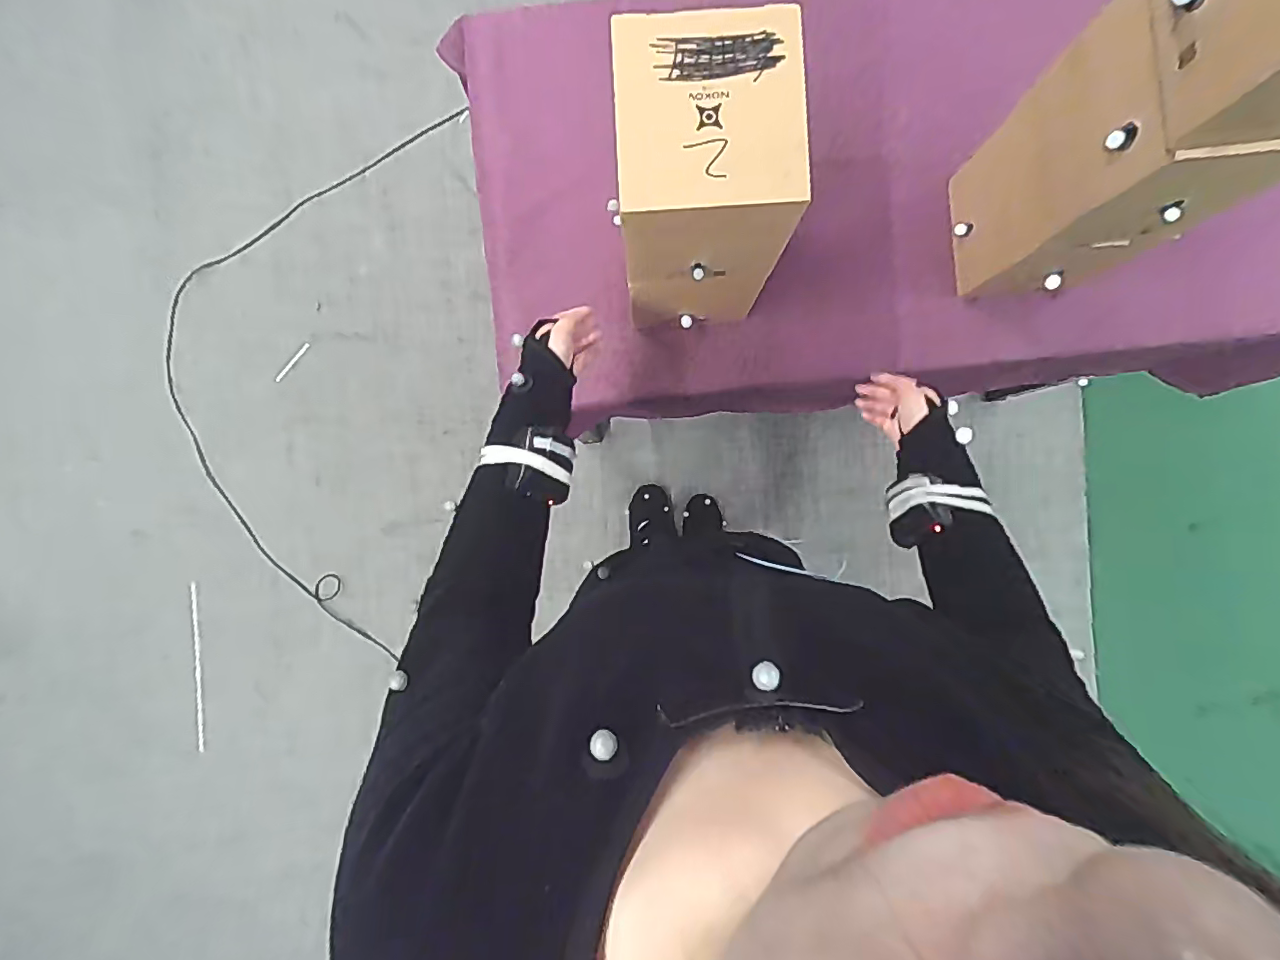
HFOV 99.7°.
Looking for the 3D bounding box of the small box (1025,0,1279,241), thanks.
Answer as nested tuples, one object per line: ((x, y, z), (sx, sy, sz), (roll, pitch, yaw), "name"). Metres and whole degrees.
((0.523, -0.355, 0.536), (0.168, 0.176, 0.179), (-4, 89, 1), "small box")

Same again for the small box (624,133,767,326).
((0.065, -0.316, 0.711), (0.168, 0.176, 0.179), (-3, 90, 1), "small box")

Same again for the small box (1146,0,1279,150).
((0.514, -0.363, 0.373), (0.179, 0.176, 0.168), (-5, 88, 2), "small box")

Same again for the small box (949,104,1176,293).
((0.530, -0.353, 0.701), (0.168, 0.176, 0.179), (-4, 90, 1), "small box")
